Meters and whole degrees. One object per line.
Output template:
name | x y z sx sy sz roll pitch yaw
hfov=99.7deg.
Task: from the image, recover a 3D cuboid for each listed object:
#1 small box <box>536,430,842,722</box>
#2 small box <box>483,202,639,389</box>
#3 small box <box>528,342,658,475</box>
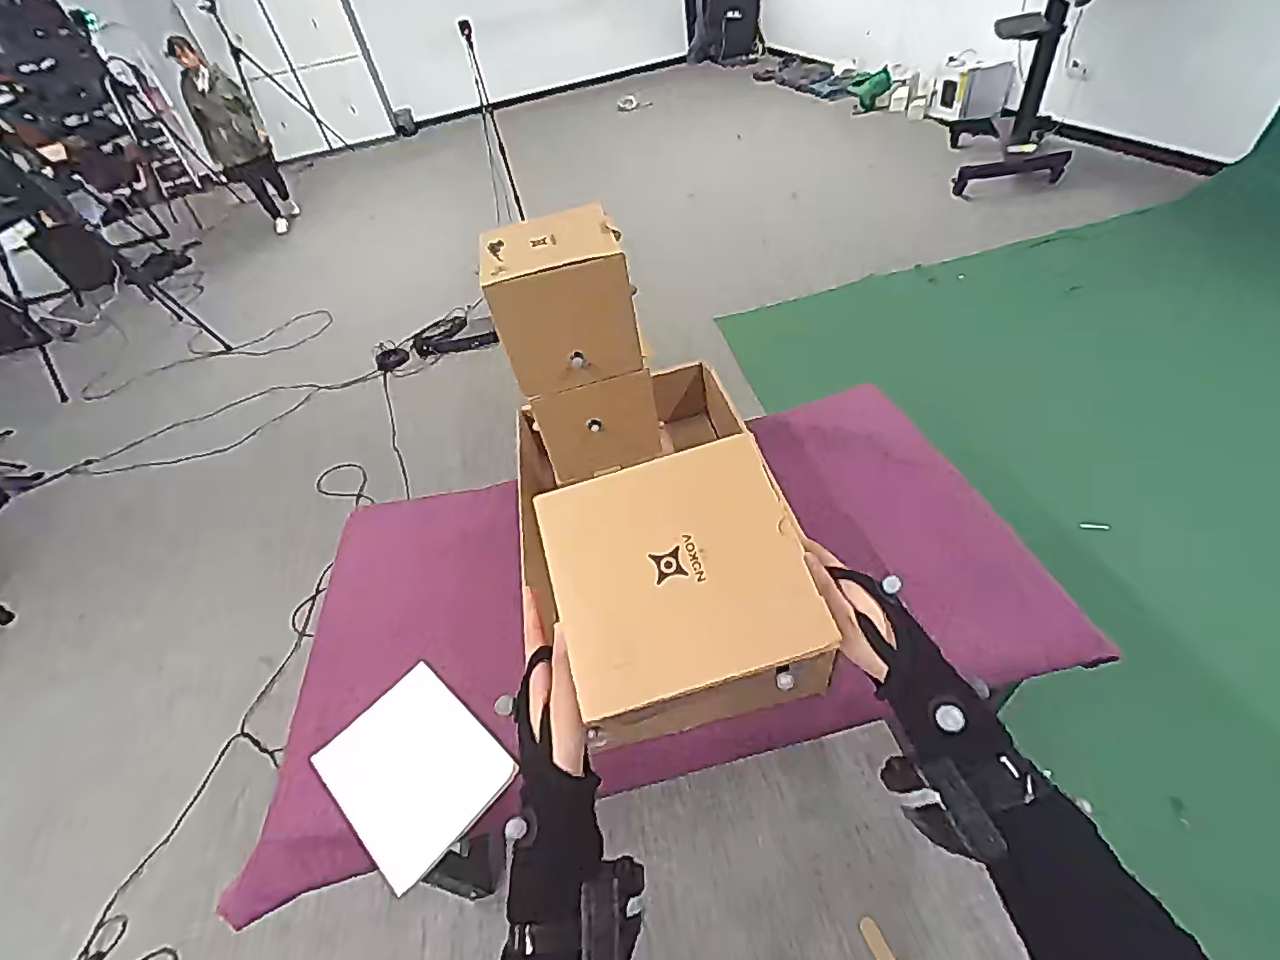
small box | 0.033 0.089 0.442 0.179 0.176 0.168 -16 64 -3
small box | -0.102 -0.249 0.739 0.179 0.176 0.168 -14 45 -3
small box | -0.075 -0.135 0.854 0.179 0.176 0.168 -16 46 -3
